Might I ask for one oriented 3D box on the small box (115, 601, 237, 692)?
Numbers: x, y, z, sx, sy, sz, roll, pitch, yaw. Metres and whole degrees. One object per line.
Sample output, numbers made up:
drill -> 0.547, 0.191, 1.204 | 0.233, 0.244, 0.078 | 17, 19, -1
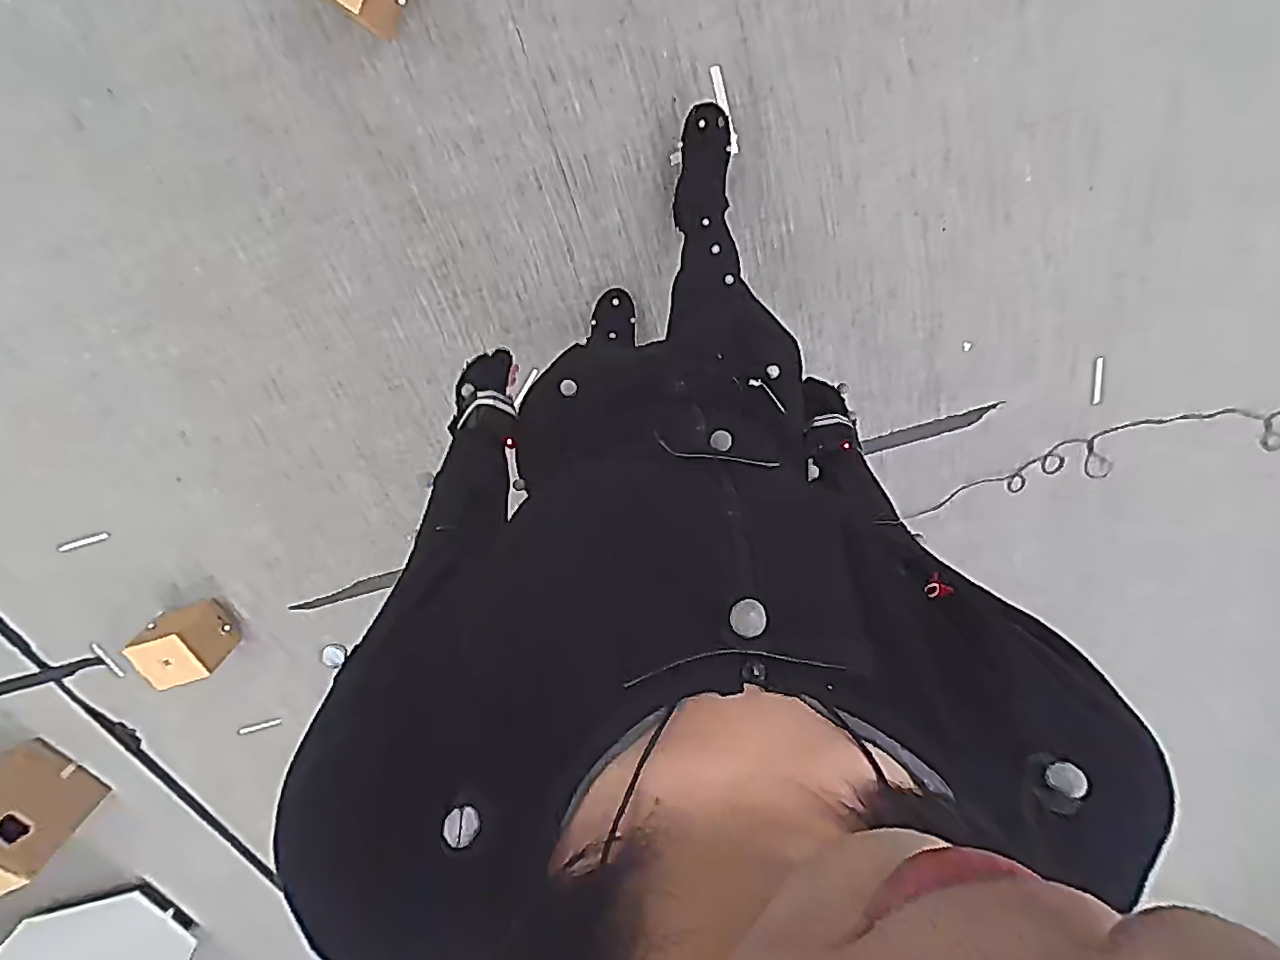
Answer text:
small box -> -1.360, 0.487, 1.600 | 0.179, 0.176, 0.168 | -17, 115, 2

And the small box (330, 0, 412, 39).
small box -> -0.536, -0.974, 1.003 | 0.179, 0.176, 0.168 | 30, 109, -17
